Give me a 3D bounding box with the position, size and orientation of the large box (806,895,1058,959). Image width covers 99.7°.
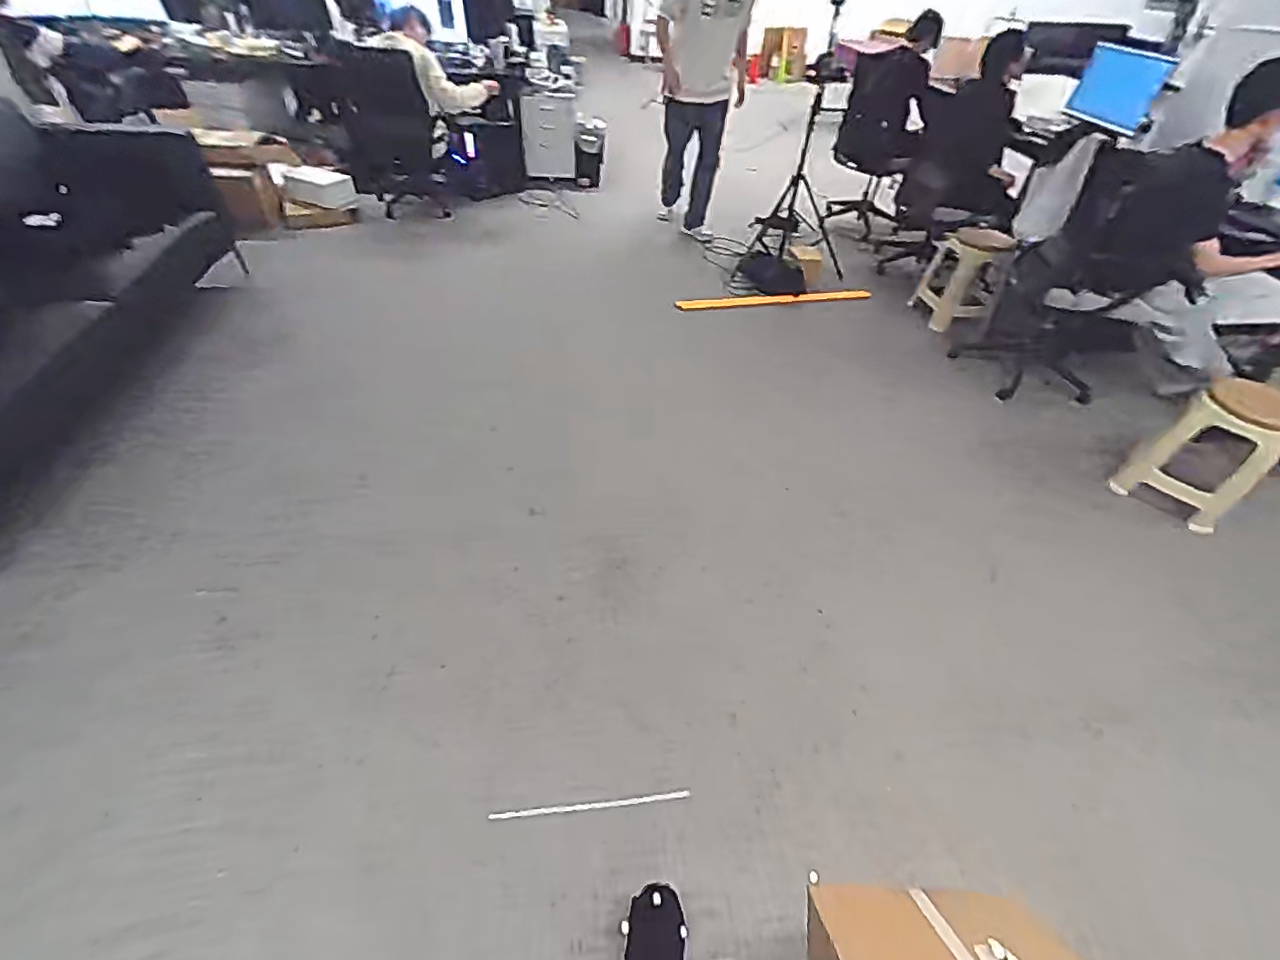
[{"bbox_3d":[0.396,0.766,0.605,0.320,0.408,0.320,4,84,1],"label":"large box"}]
